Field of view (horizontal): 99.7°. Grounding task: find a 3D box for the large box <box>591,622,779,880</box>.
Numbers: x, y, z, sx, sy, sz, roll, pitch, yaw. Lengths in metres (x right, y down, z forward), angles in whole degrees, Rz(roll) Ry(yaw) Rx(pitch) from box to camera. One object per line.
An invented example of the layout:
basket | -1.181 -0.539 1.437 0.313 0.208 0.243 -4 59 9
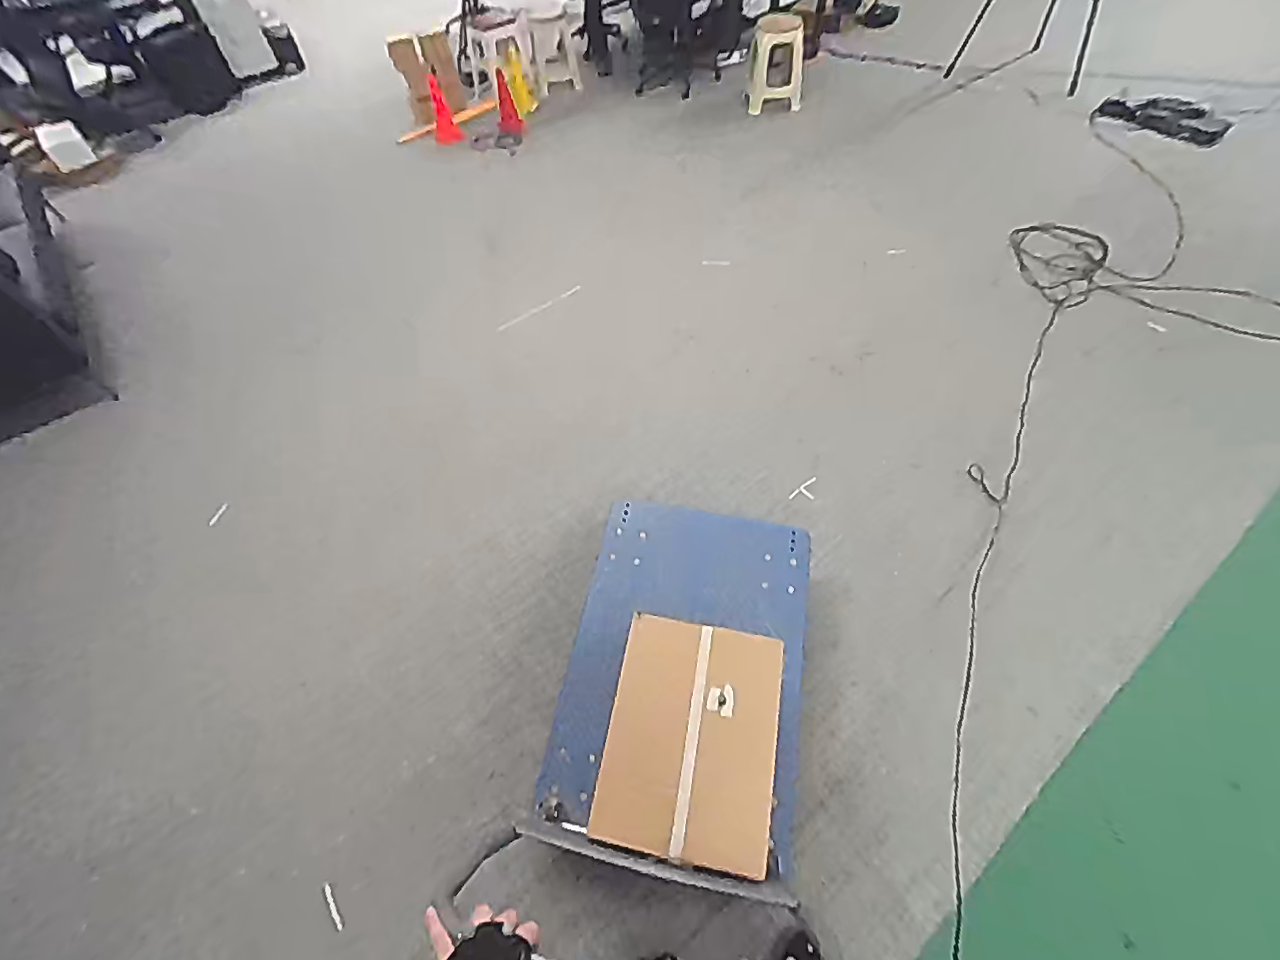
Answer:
large box | 0.107 0.568 1.159 0.320 0.320 0.408 9 60 9
